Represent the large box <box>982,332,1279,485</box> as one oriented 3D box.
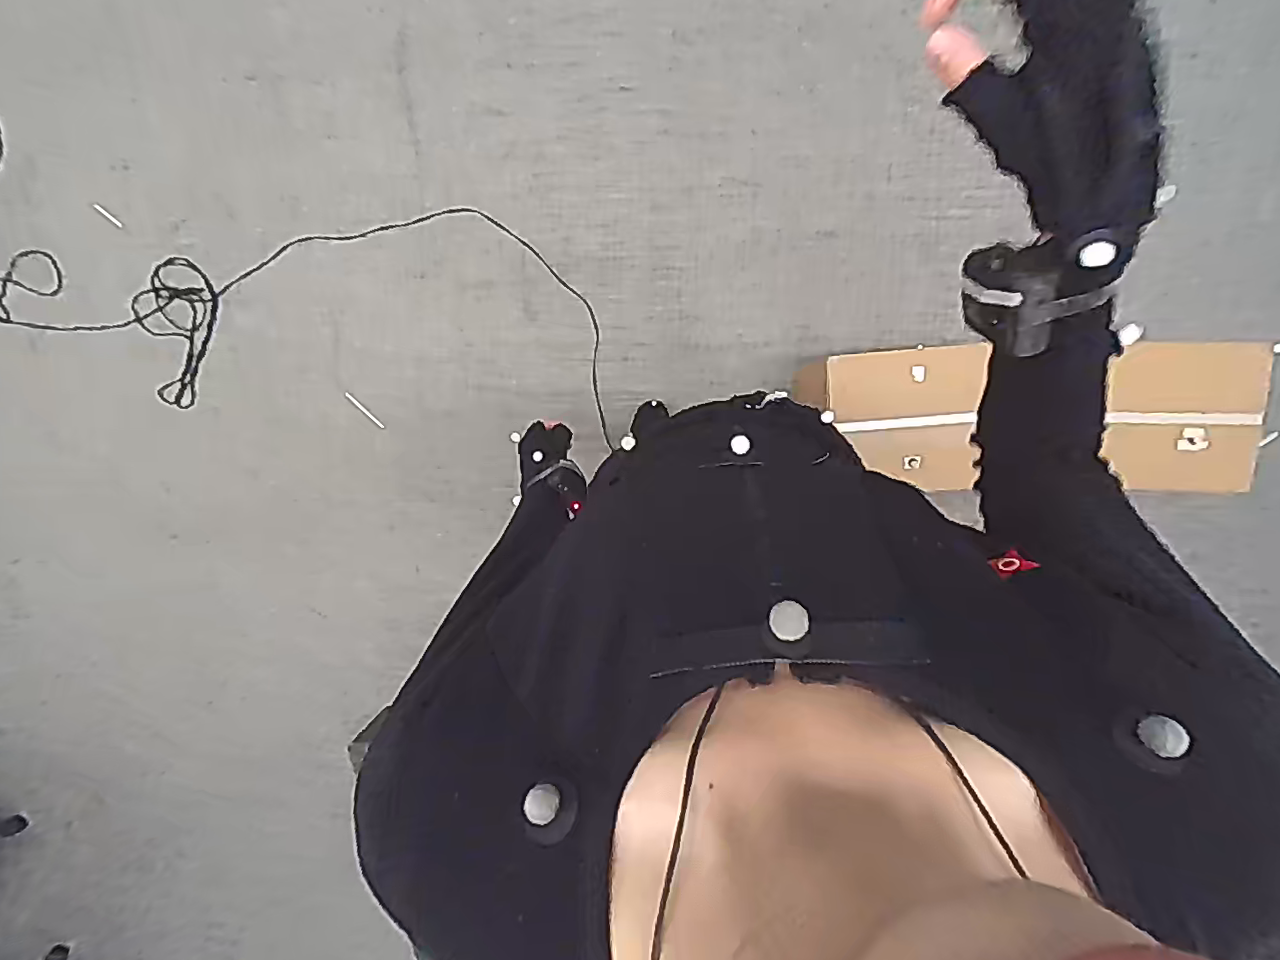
[{"bbox_3d":[1.090,-0.163,1.260,0.408,0.320,0.320,1,99,3],"label":"large box"}]
